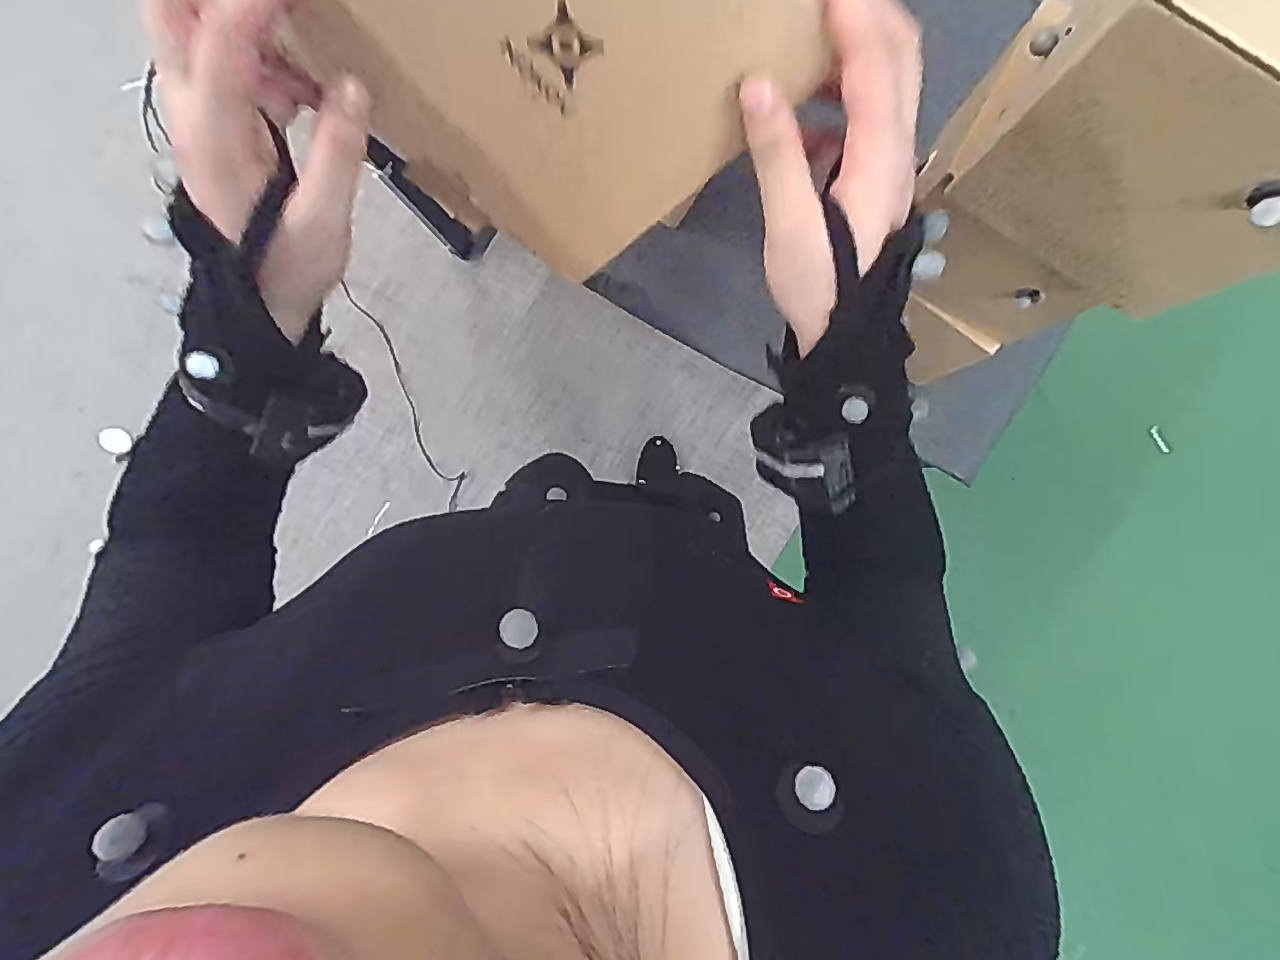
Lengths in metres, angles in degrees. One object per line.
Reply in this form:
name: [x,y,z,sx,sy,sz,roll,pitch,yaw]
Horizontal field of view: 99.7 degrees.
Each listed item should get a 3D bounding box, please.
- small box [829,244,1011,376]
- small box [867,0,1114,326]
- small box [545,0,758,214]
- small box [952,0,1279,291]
small box: [0.356,-0.251,0.645,0.168,0.176,0.179,37,90,2]
small box: [0.343,-0.260,0.483,0.179,0.176,0.168,29,88,3]
small box: [0.014,-0.465,0.659,0.179,0.176,0.168,34,91,2]
small box: [0.339,-0.239,0.317,0.179,0.176,0.168,34,88,2]
